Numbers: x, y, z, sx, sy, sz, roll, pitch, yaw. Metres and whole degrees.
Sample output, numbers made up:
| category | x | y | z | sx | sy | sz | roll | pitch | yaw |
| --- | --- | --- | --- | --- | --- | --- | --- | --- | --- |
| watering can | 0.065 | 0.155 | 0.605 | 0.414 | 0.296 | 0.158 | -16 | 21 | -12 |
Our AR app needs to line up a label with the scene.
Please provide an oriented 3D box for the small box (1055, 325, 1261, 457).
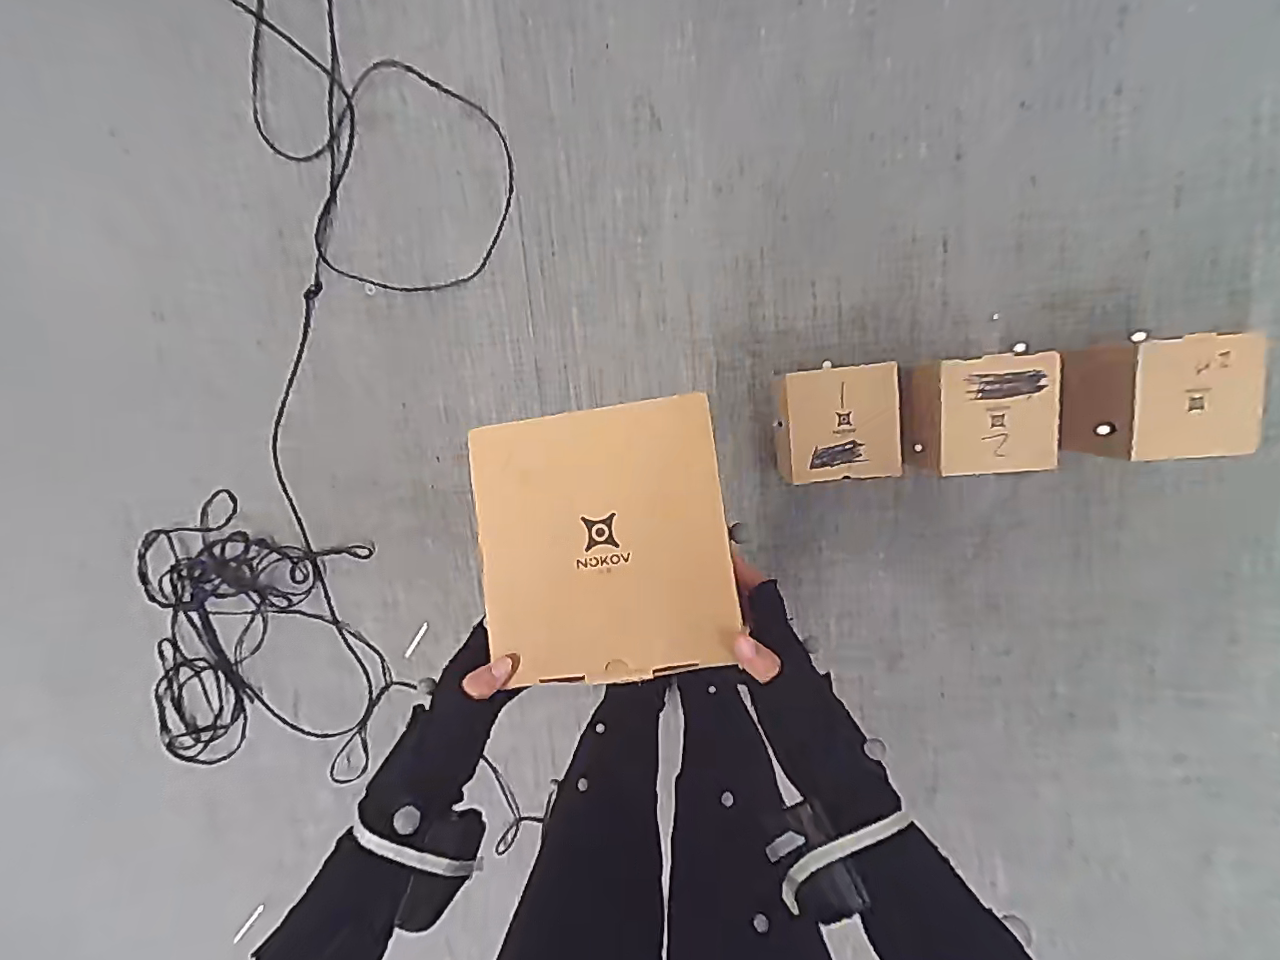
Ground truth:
| category | x | y | z | sx | sy | sz | roll | pitch | yaw |
| --- | --- | --- | --- | --- | --- | --- | --- | --- | --- |
| small box | 0.788 | -0.137 | 0.843 | 0.168 | 0.176 | 0.179 | -4 | 98 | 7 |

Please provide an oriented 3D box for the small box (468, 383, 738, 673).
| category | x | y | z | sx | sy | sz | roll | pitch | yaw |
| --- | --- | --- | --- | --- | --- | --- | --- | --- | --- |
| small box | -0.020 | 0.039 | 0.436 | 0.168 | 0.176 | 0.179 | -9 | 85 | 6 |

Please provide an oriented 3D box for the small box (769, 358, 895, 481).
| category | x | y | z | sx | sy | sz | roll | pitch | yaw |
| --- | --- | --- | --- | --- | --- | --- | --- | --- | --- |
| small box | 0.311 | -0.101 | 0.901 | 0.168 | 0.176 | 0.179 | -5 | 97 | 8 |
